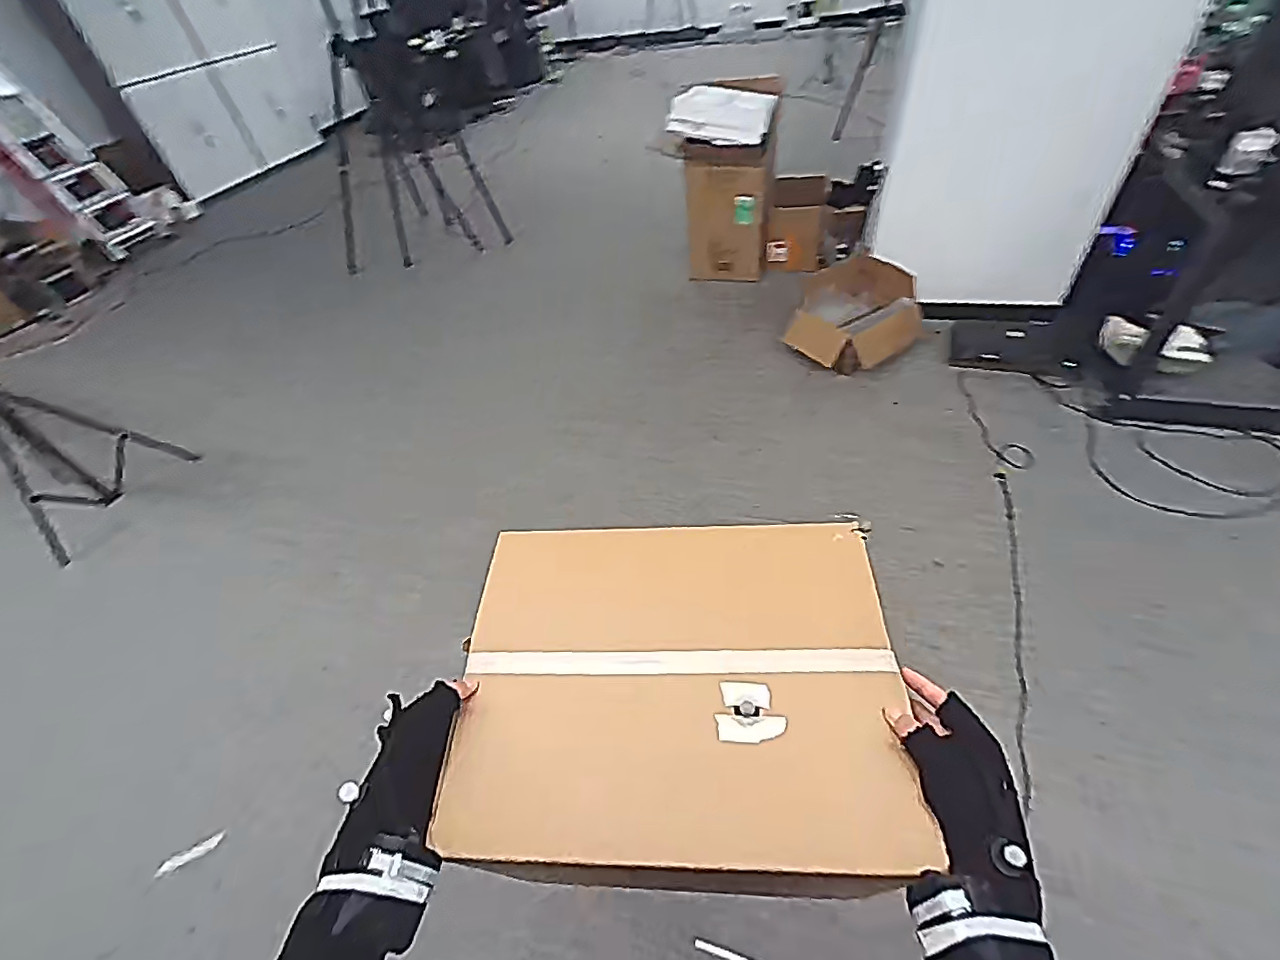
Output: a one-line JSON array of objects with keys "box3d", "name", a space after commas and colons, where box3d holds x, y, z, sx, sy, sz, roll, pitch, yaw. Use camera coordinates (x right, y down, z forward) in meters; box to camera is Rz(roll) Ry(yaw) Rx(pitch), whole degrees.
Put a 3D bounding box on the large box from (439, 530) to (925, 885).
[{"box3d": [0.042, 0.279, 0.643, 0.408, 0.320, 0.320, -2, 51, 5], "name": "large box"}]
